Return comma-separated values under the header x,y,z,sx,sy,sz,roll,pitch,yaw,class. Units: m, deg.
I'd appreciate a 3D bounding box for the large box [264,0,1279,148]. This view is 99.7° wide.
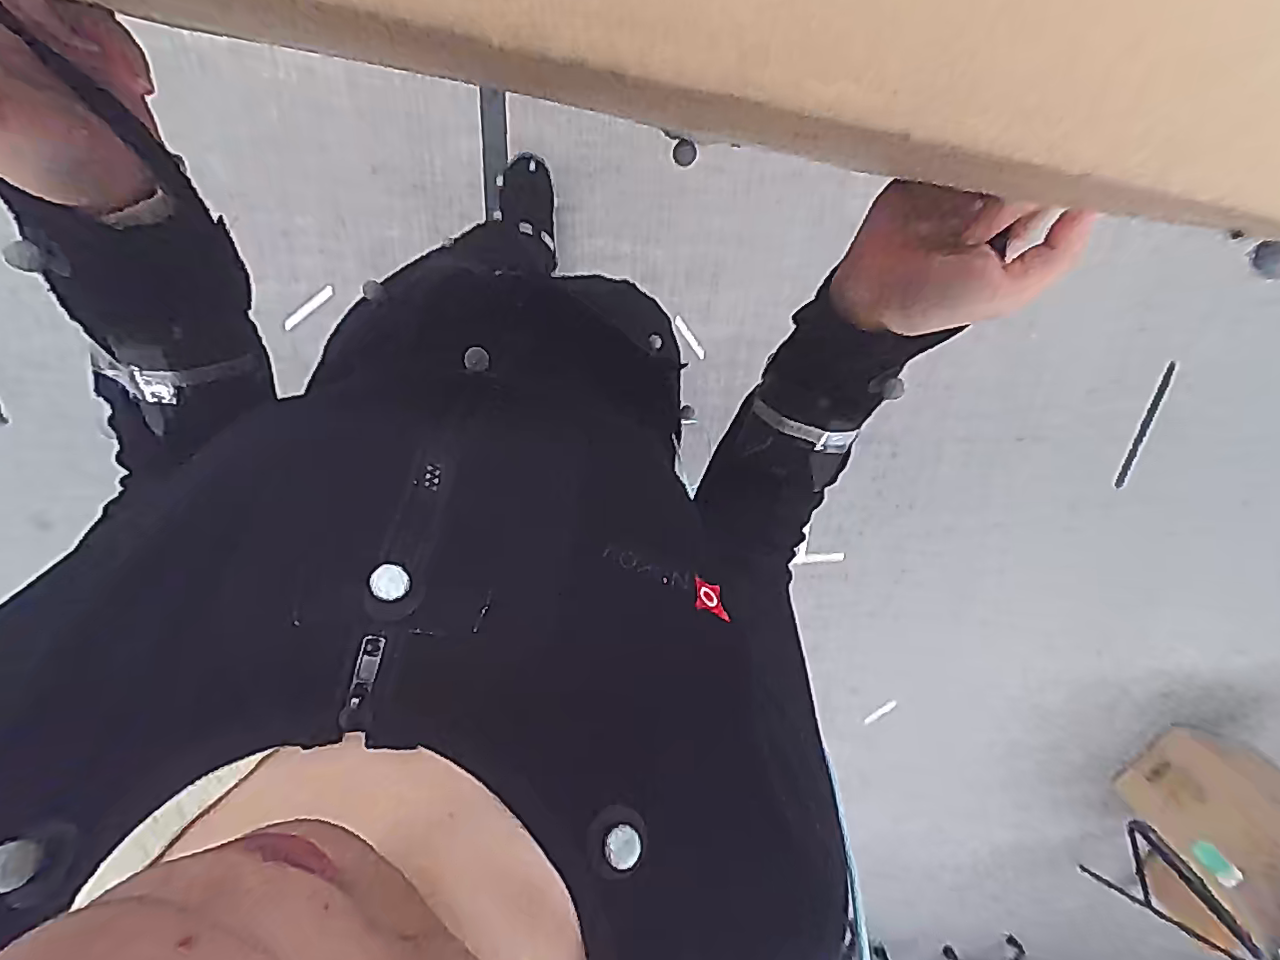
x,y,z,sx,sy,sz,roll,pitch,yaw,class
-0.009,-0.306,0.136,0.408,0.320,0.320,4,125,-10,large box
